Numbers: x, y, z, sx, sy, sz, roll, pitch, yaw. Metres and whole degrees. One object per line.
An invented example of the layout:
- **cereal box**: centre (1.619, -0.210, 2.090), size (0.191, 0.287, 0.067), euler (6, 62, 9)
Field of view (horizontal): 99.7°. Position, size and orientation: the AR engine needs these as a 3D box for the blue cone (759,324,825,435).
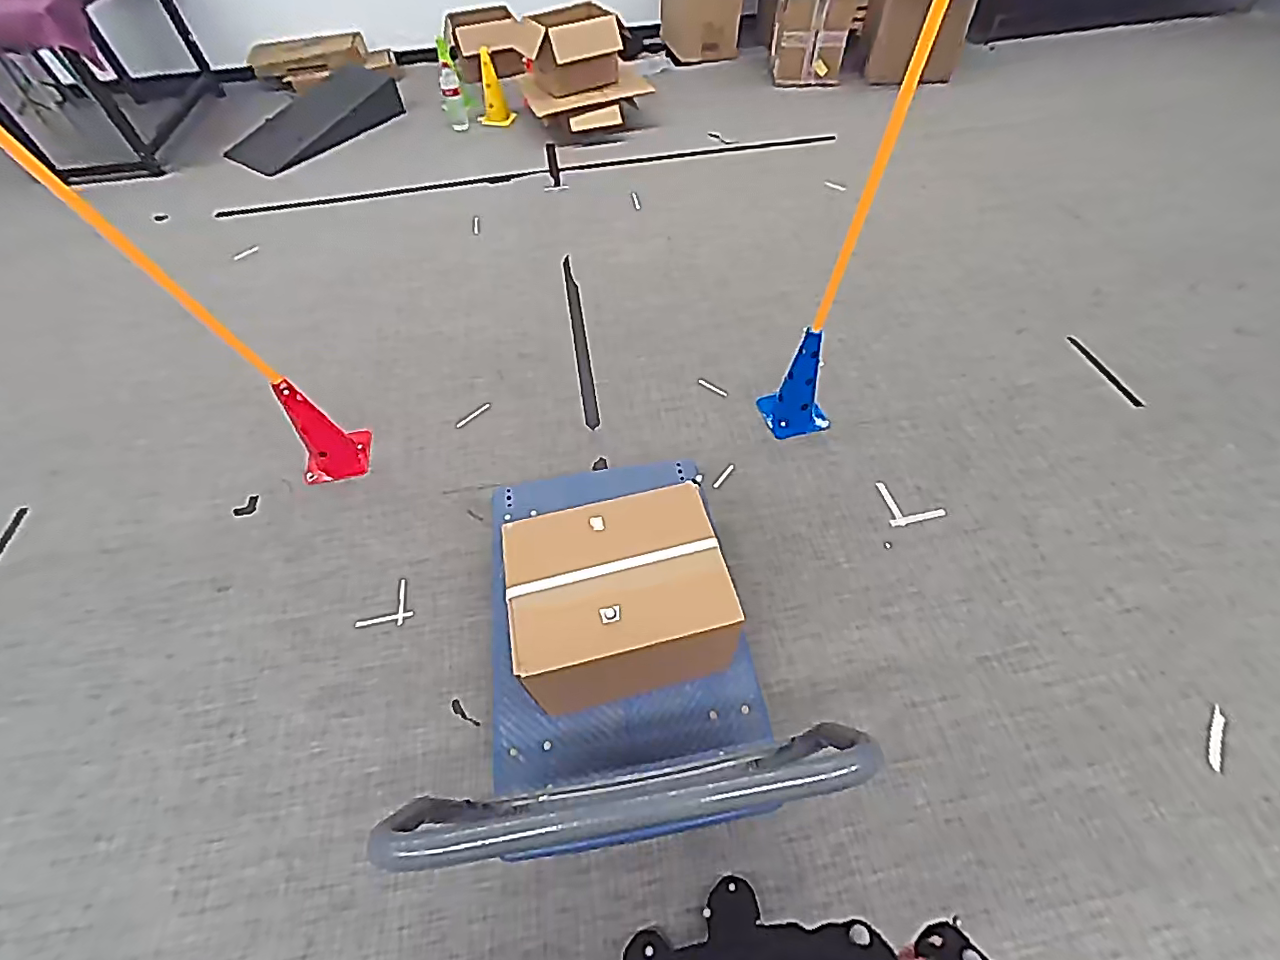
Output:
- **blue cone**: centre (0.521, -0.331, 1.735), size (0.193, 0.380, 0.192), euler (-12, 54, -7)
